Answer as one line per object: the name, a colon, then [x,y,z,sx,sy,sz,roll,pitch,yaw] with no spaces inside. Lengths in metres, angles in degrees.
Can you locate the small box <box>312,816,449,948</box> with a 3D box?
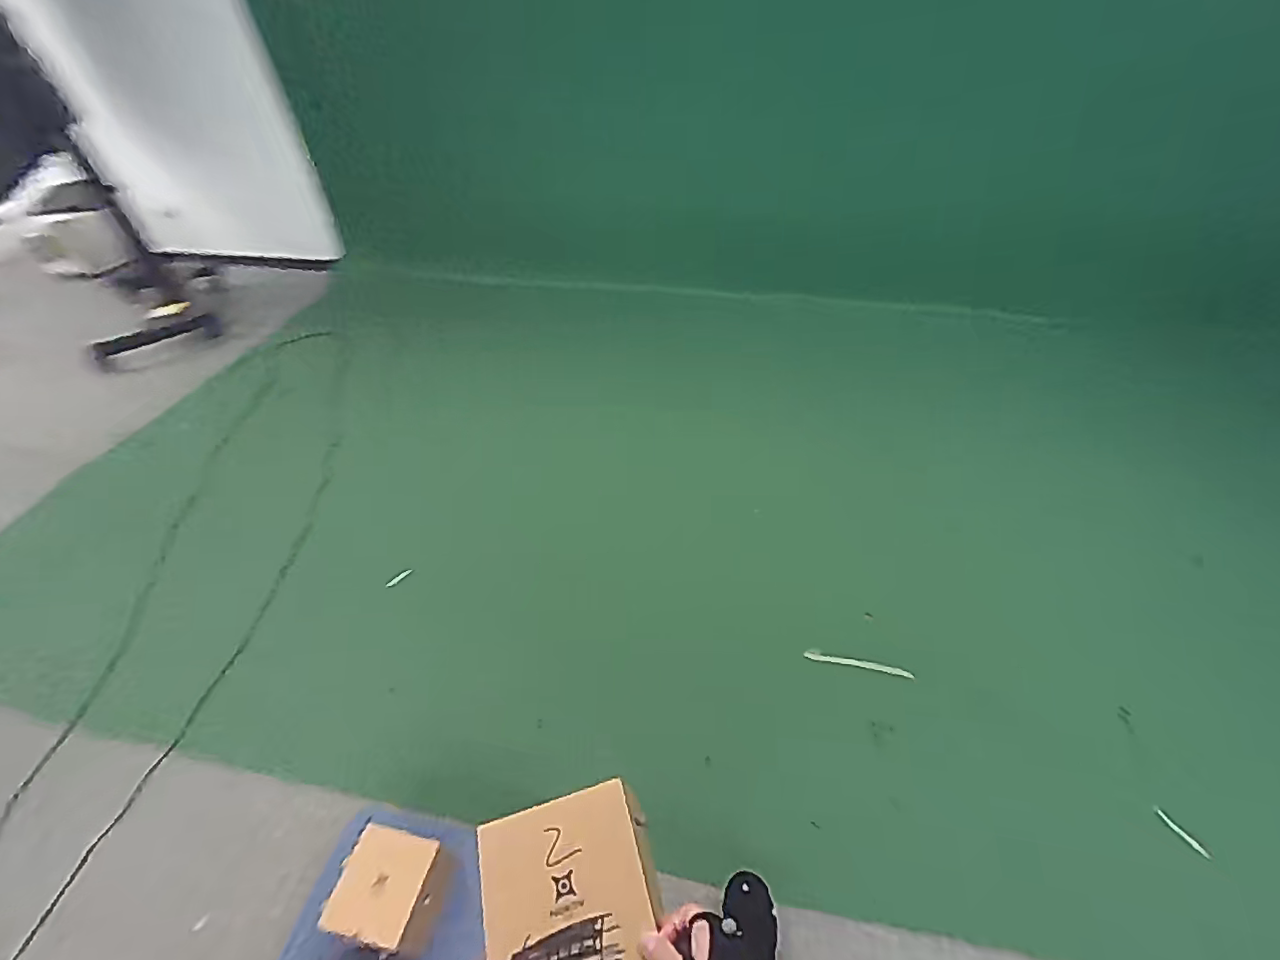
small box: [-0.519,0.831,1.115,0.168,0.176,0.179,10,47,10]
